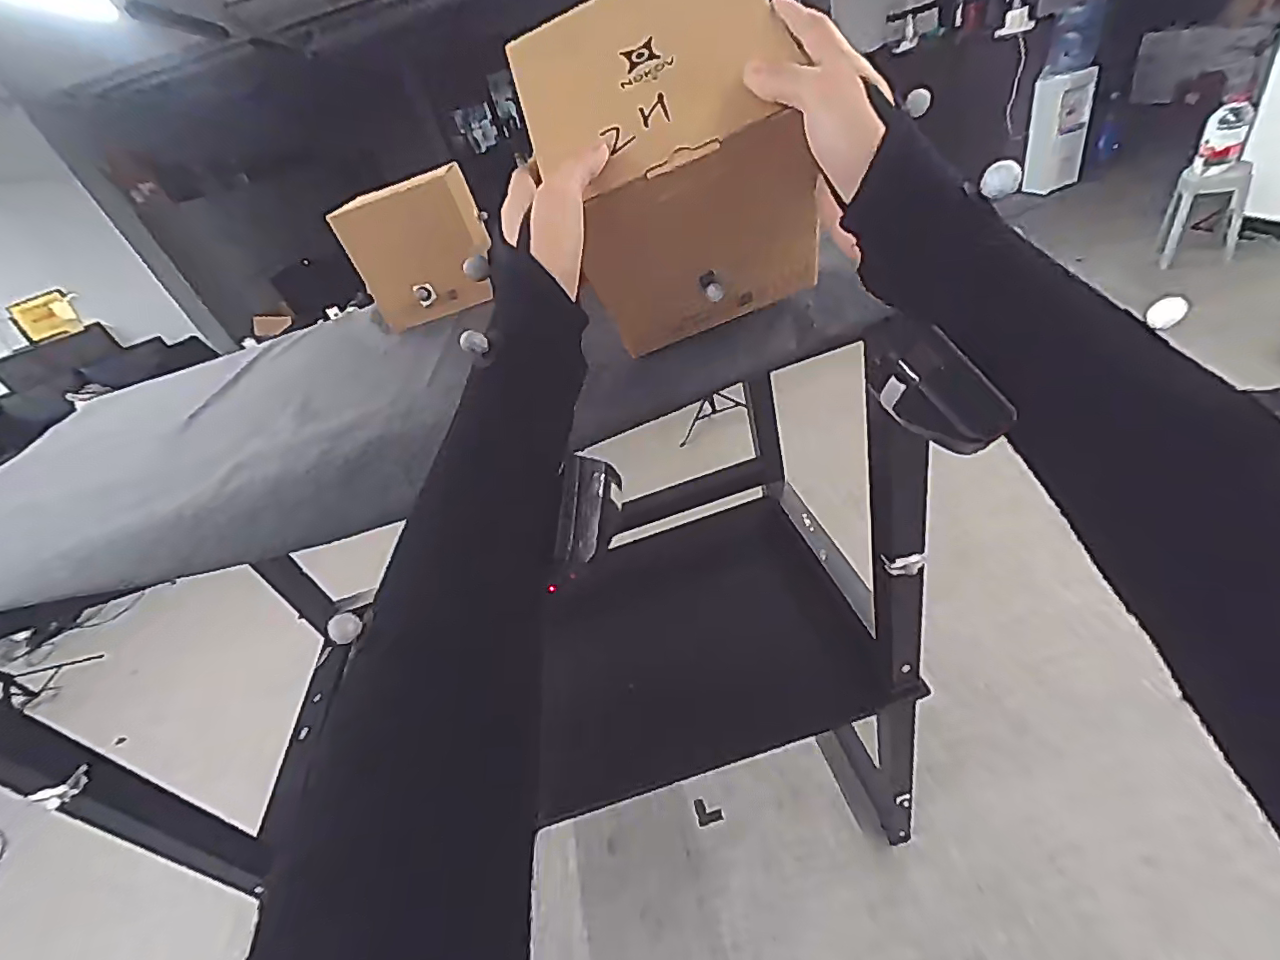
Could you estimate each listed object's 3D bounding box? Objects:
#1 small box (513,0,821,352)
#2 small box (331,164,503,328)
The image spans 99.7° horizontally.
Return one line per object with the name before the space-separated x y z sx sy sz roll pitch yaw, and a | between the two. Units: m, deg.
small box | 0.025 -0.233 0.416 0.168 0.176 0.179 -20 68 10
small box | -0.315 -0.349 0.808 0.168 0.176 0.179 -20 36 1
